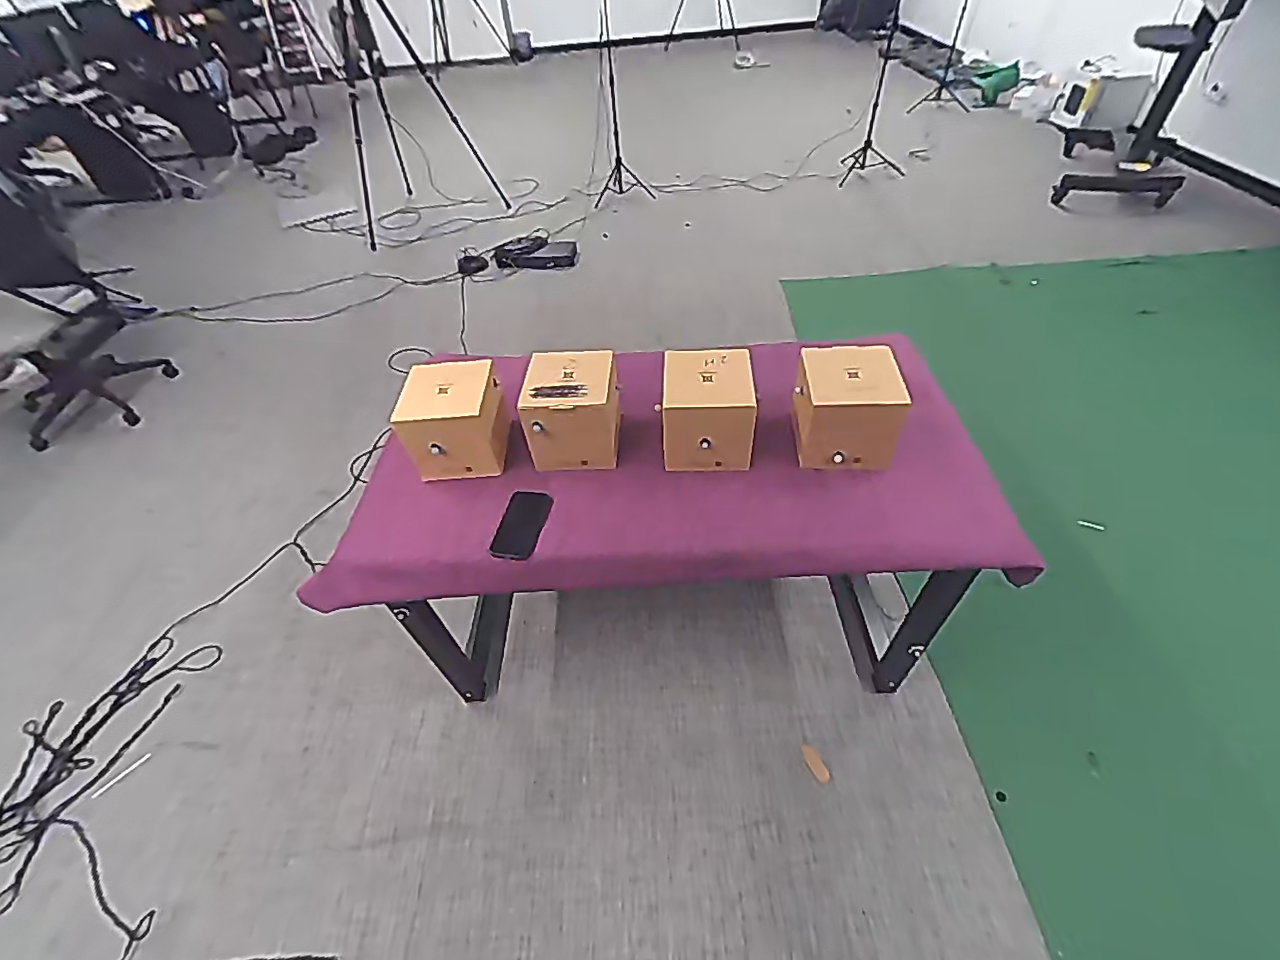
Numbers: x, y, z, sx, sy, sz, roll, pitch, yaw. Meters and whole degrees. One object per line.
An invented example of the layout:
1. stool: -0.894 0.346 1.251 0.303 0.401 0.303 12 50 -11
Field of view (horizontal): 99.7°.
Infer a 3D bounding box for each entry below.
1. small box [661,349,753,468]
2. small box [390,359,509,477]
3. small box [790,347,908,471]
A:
1. small box: 0.129 -0.137 1.061 0.168 0.176 0.179 0 47 5
2. small box: -0.370 -0.119 1.090 0.168 0.176 0.179 -5 46 1
3. small box: 0.389 -0.138 1.041 0.168 0.176 0.179 0 47 7
